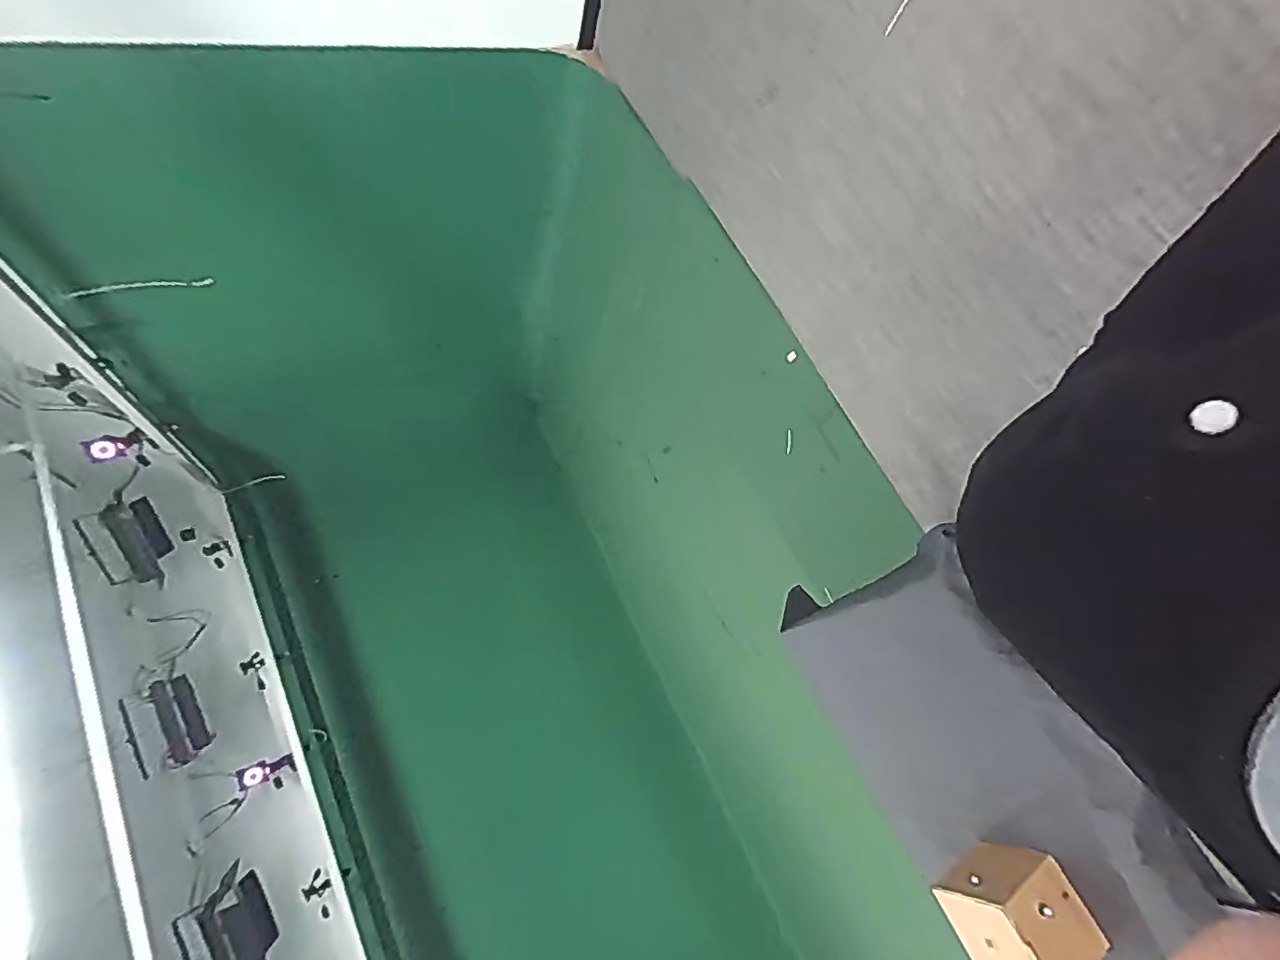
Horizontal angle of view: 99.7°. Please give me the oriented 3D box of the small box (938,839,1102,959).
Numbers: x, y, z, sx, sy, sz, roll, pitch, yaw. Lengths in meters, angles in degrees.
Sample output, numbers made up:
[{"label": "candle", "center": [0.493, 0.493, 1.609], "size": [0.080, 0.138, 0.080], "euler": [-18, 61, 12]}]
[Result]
[{"label": "small box", "center": [0.735, 0.831, 1.043], "size": [0.168, 0.176, 0.179], "euler": [62, 155, 16]}]
